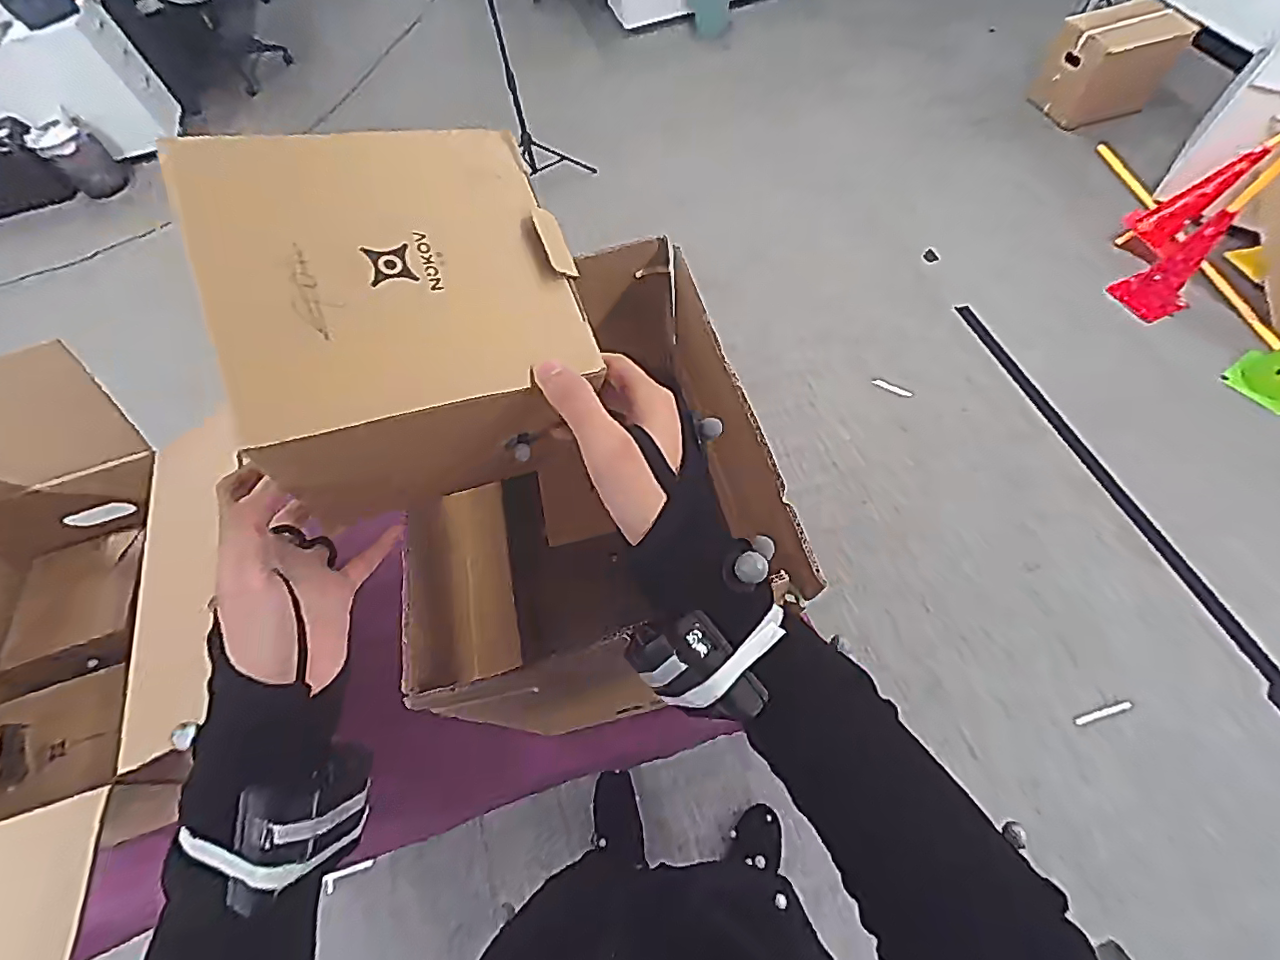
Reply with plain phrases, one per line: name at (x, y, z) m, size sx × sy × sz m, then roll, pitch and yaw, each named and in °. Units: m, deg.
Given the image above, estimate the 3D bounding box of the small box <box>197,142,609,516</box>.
small box at (-0.144, -0.089, 0.363) m, size 0.179 × 0.176 × 0.168 m, roll -17°, pitch 78°, yaw -22°
